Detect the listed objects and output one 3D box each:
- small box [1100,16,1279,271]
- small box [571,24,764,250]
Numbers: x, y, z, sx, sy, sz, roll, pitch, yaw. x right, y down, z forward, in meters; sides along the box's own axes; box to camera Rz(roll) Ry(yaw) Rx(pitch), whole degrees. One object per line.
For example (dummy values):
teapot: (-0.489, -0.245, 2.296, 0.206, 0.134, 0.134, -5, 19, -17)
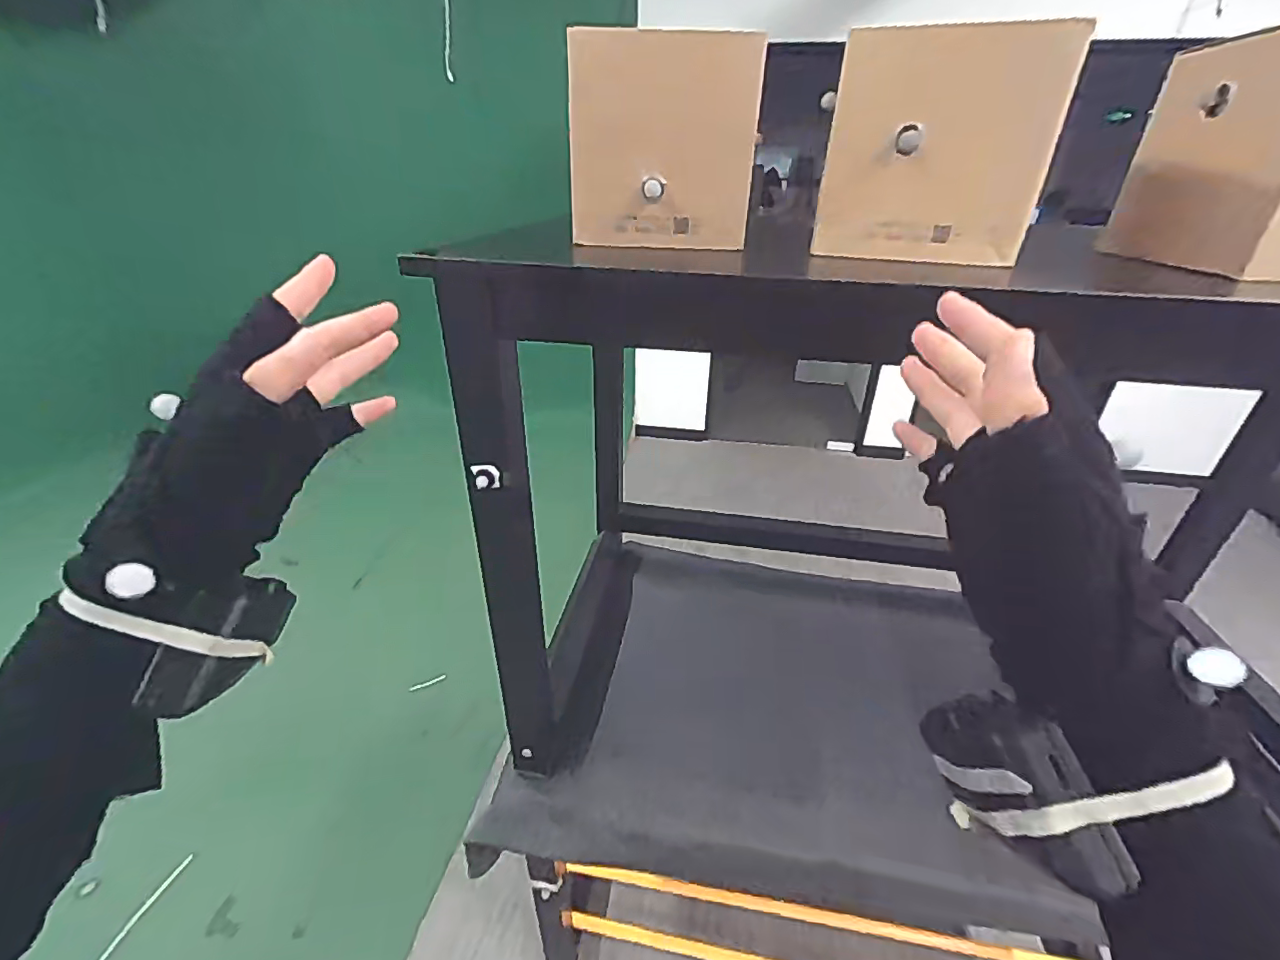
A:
small box: (0.548, -0.272, 0.452, 0.168, 0.176, 0.179, 3, 30, 5)
small box: (0.025, -0.343, 0.559, 0.168, 0.176, 0.179, 3, 30, 3)
